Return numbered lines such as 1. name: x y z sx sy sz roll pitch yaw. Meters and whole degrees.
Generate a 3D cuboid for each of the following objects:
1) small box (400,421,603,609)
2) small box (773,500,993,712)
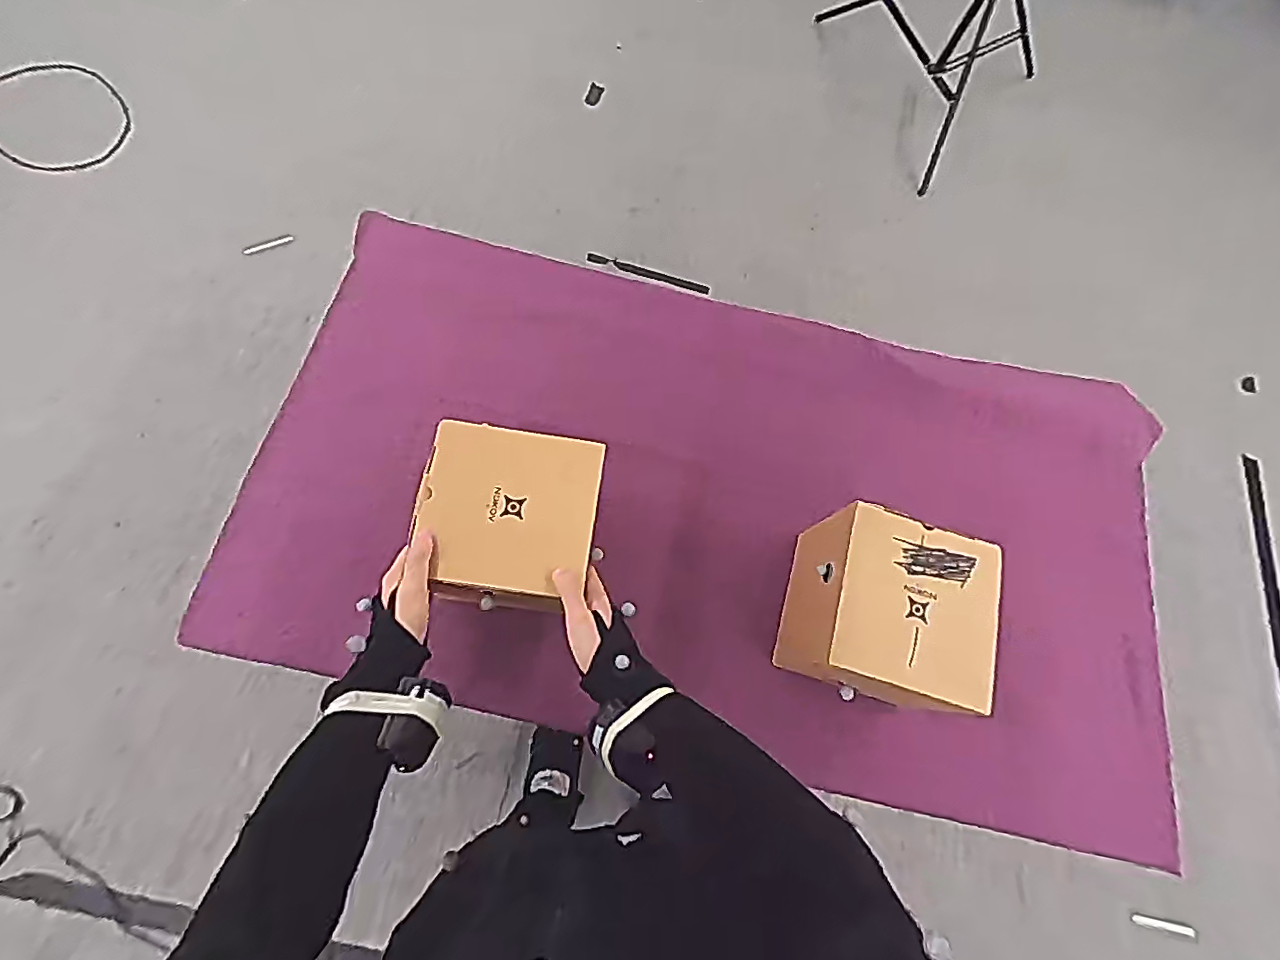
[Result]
1. small box: -0.142 0.052 0.618 0.179 0.176 0.168 8 71 -3
2. small box: 0.270 0.149 0.628 0.168 0.176 0.179 18 71 0
